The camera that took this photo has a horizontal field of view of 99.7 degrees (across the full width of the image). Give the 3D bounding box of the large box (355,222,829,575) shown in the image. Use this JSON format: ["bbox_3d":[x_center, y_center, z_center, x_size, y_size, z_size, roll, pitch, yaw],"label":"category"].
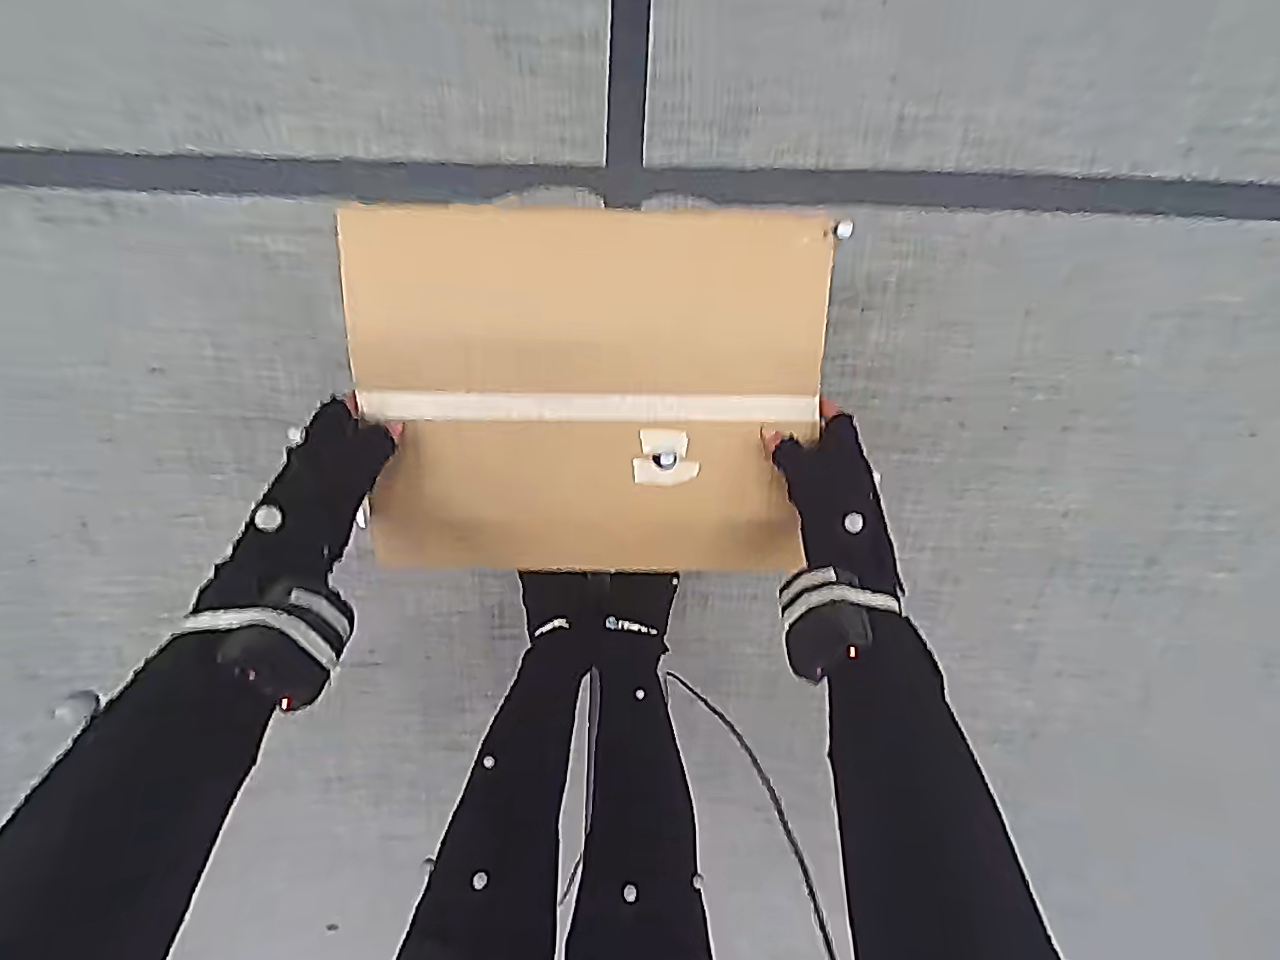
[{"bbox_3d":[-0.043,-0.094,0.627,0.408,0.320,0.320,0,104,-2],"label":"large box"}]
